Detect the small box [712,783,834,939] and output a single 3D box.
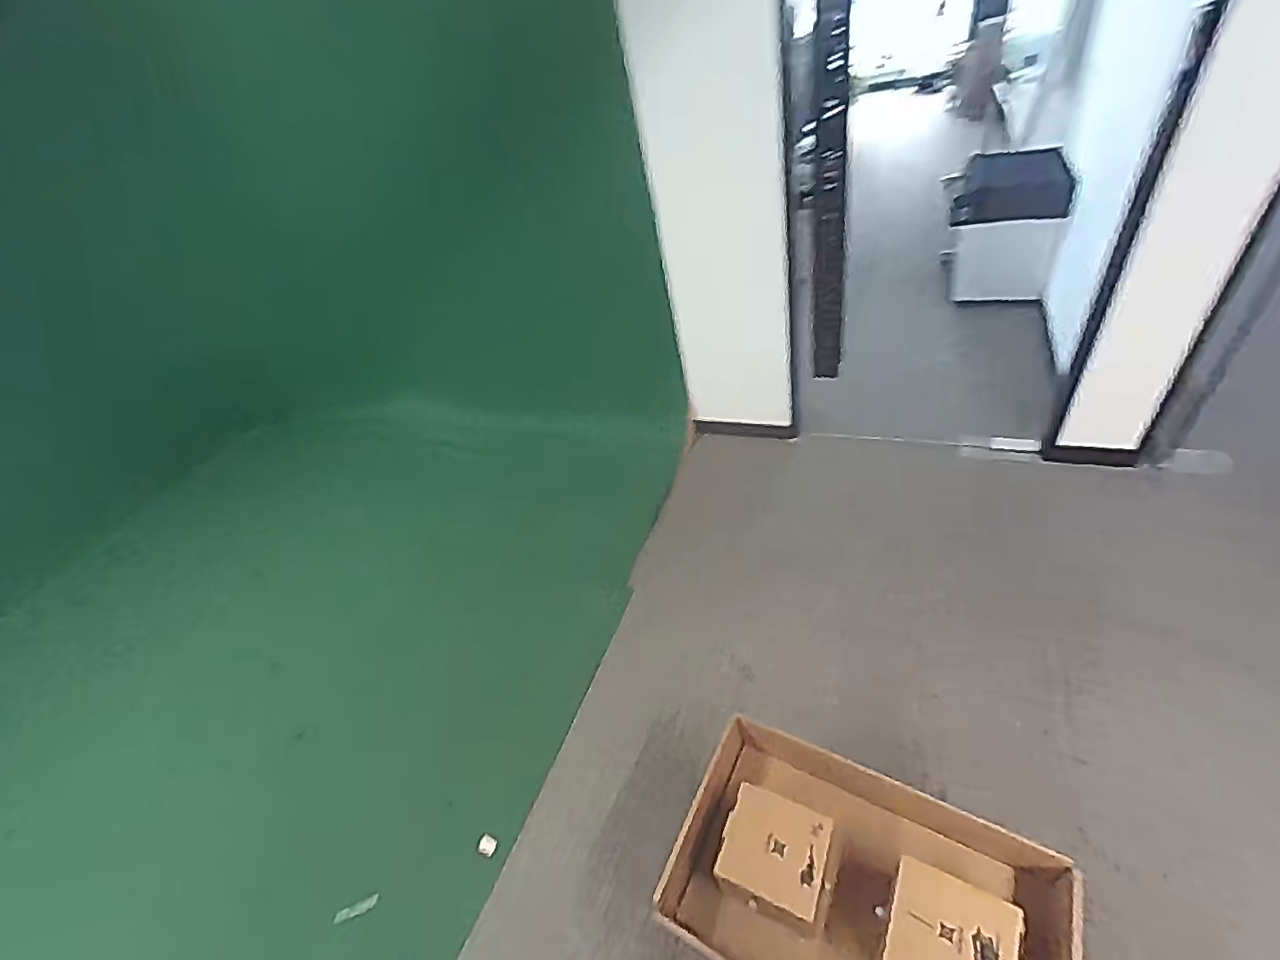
[{"bbox_3d":[0.253,0.709,1.005,0.179,0.176,0.168,11,48,28],"label":"small box"}]
